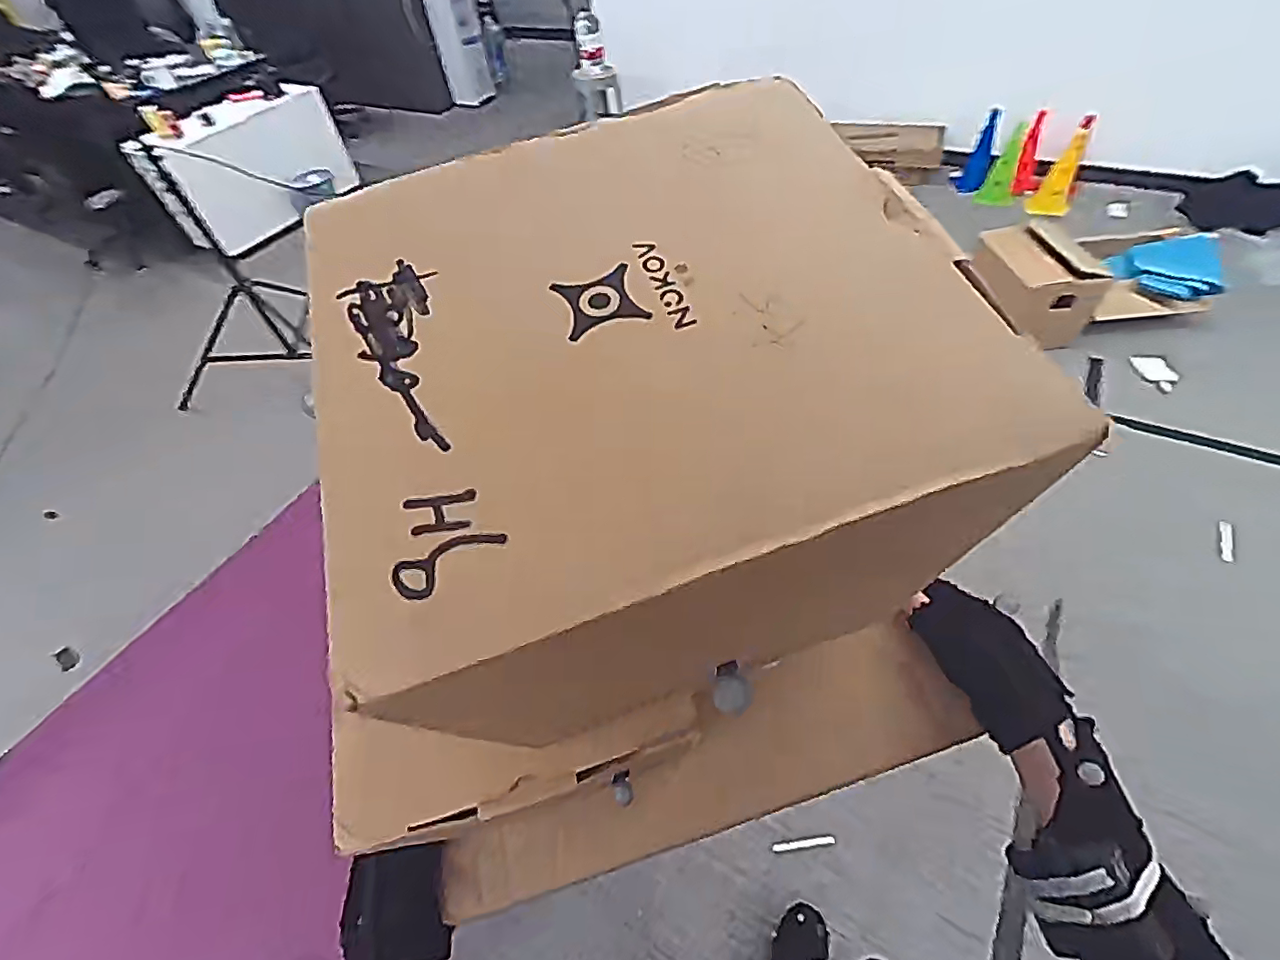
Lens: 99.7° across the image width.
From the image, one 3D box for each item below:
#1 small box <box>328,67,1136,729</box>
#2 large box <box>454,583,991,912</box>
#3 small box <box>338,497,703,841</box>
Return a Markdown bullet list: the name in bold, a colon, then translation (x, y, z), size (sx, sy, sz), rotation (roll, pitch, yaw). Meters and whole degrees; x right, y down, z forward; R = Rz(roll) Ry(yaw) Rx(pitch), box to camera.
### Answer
- **small box**: translation (0.009, -0.016, 0.217), size (0.179, 0.176, 0.168), rotation (-18, 61, -6)
- **large box**: translation (0.034, 0.178, 0.575), size (0.408, 0.320, 0.320), rotation (-16, 61, -7)
- **small box**: translation (-0.067, 0.100, 0.345), size (0.168, 0.176, 0.179), rotation (-15, 59, -7)
